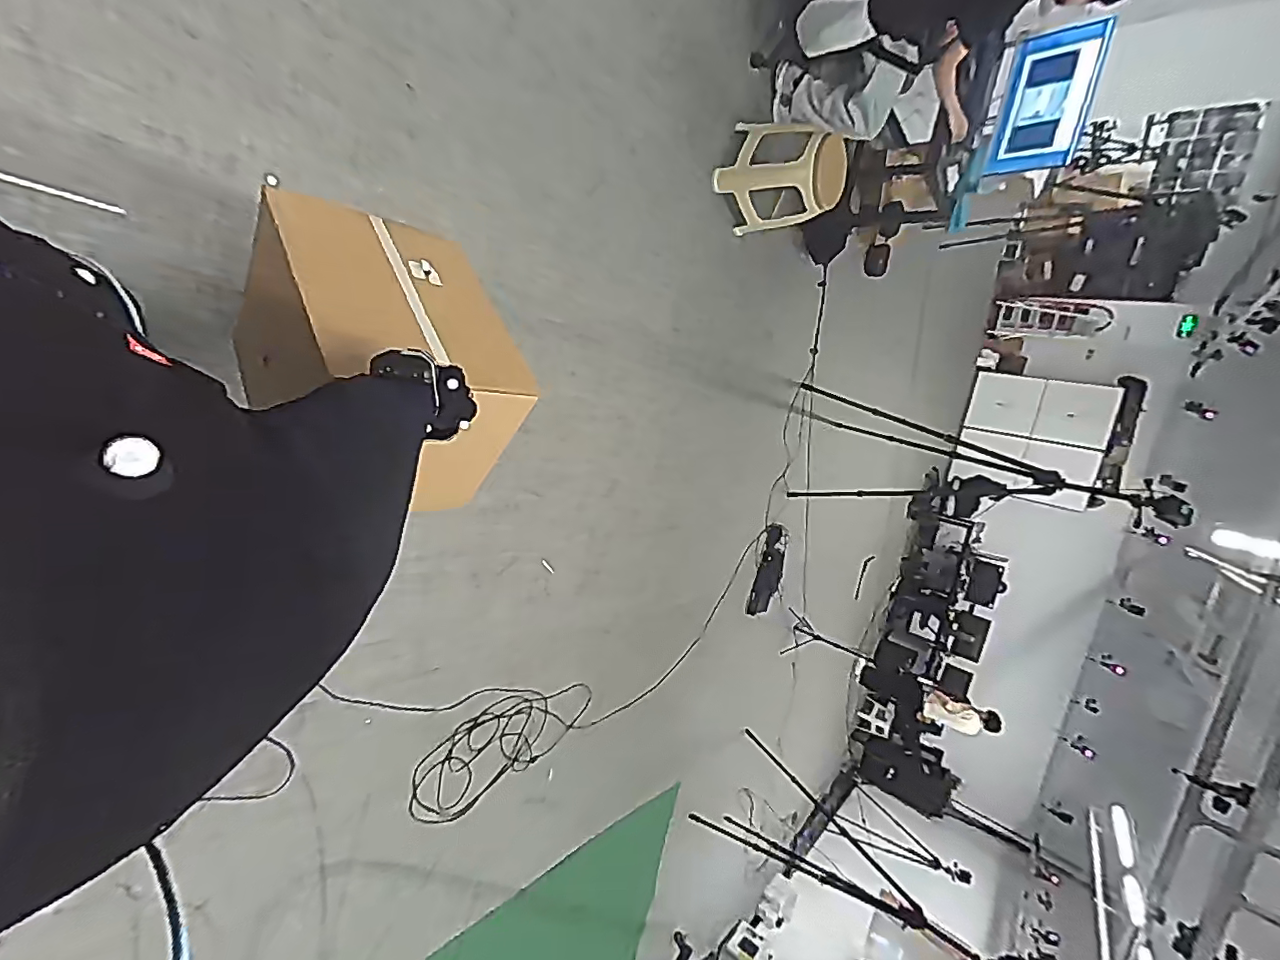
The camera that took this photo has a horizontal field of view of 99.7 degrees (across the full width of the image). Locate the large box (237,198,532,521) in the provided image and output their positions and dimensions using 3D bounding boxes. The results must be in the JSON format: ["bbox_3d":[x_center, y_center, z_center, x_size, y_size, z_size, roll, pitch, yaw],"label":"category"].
[{"bbox_3d":[-0.455,-0.188,0.933,0.320,0.408,0.320,-3,143,-48],"label":"large box"}]
